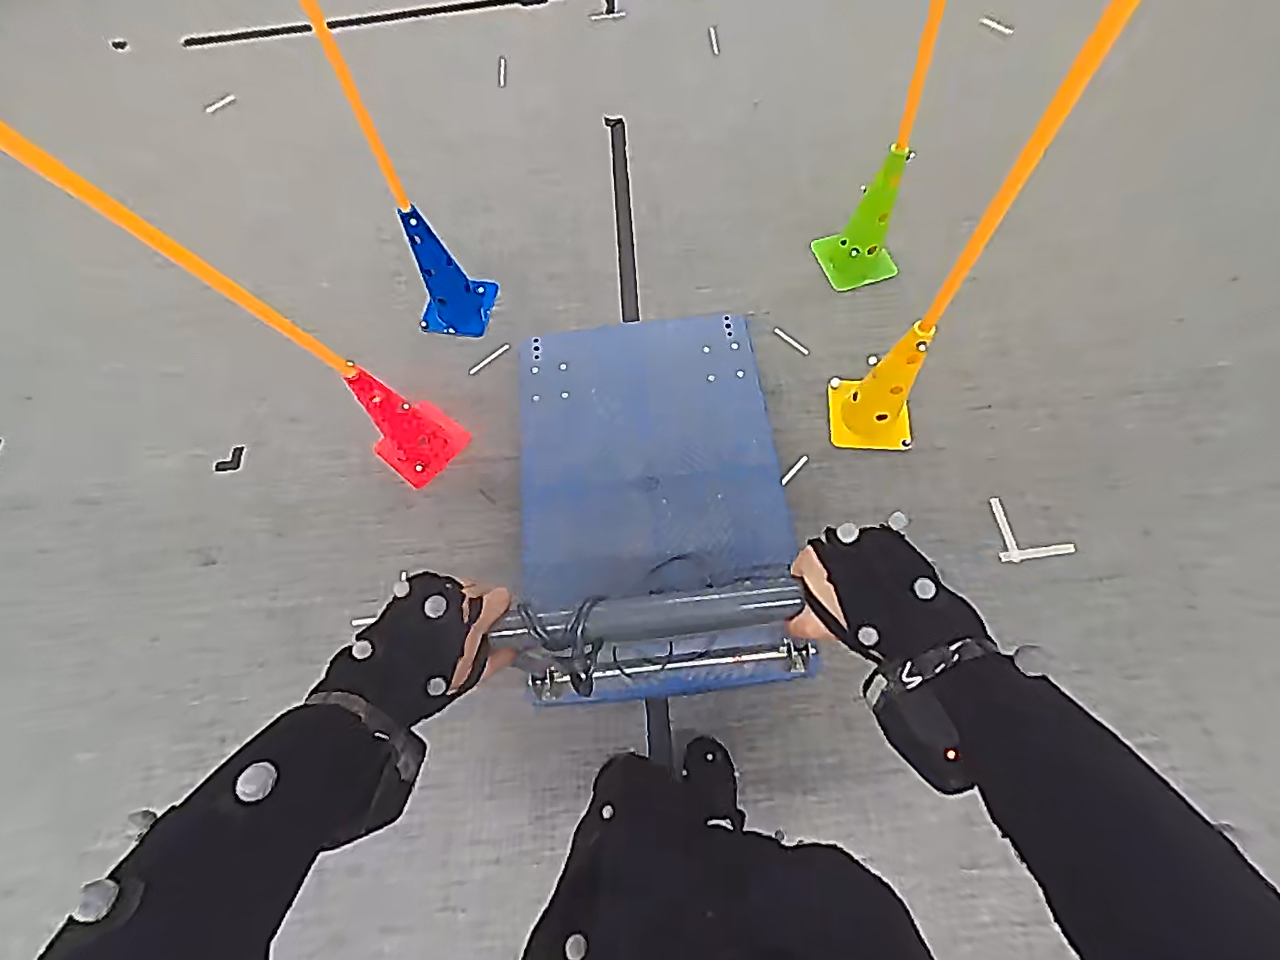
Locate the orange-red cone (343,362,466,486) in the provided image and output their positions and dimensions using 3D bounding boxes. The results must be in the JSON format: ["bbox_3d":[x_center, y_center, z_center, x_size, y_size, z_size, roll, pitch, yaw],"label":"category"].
[{"bbox_3d":[-0.597,-0.166,1.292,0.198,0.360,0.199,38,74,16],"label":"orange-red cone"}]

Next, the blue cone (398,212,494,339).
[{"bbox_3d":[-0.550,-0.571,1.467,0.193,0.380,0.192,9,70,7],"label":"blue cone"}]

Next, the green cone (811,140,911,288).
[{"bbox_3d":[0.621,-0.726,1.438,0.200,0.368,0.202,-18,70,-3],"label":"green cone"}]
